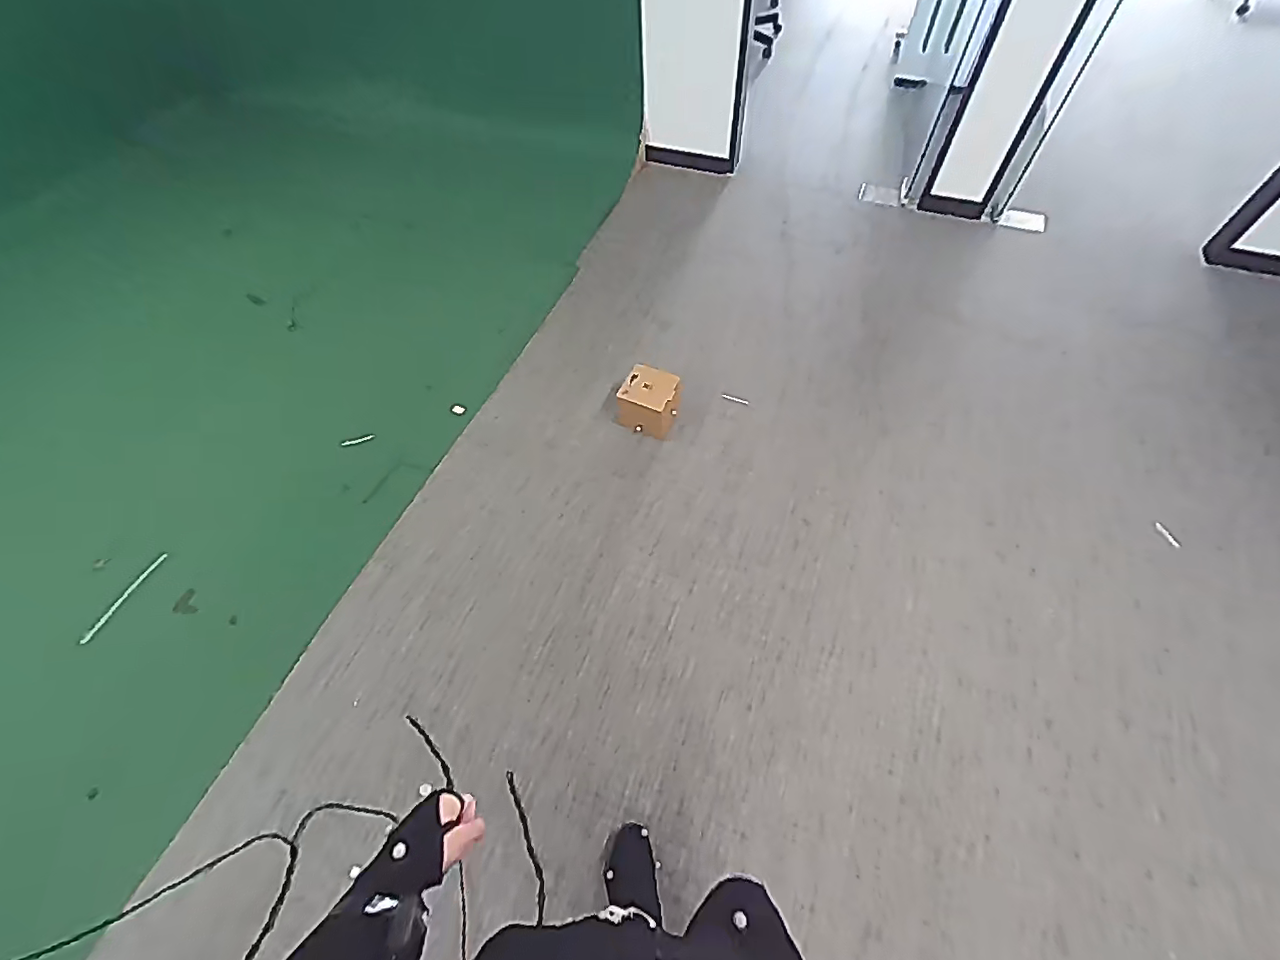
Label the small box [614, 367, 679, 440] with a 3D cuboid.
[{"bbox_3d":[0.026,-0.267,1.923,0.179,0.176,0.168,21,62,15],"label":"small box"}]
